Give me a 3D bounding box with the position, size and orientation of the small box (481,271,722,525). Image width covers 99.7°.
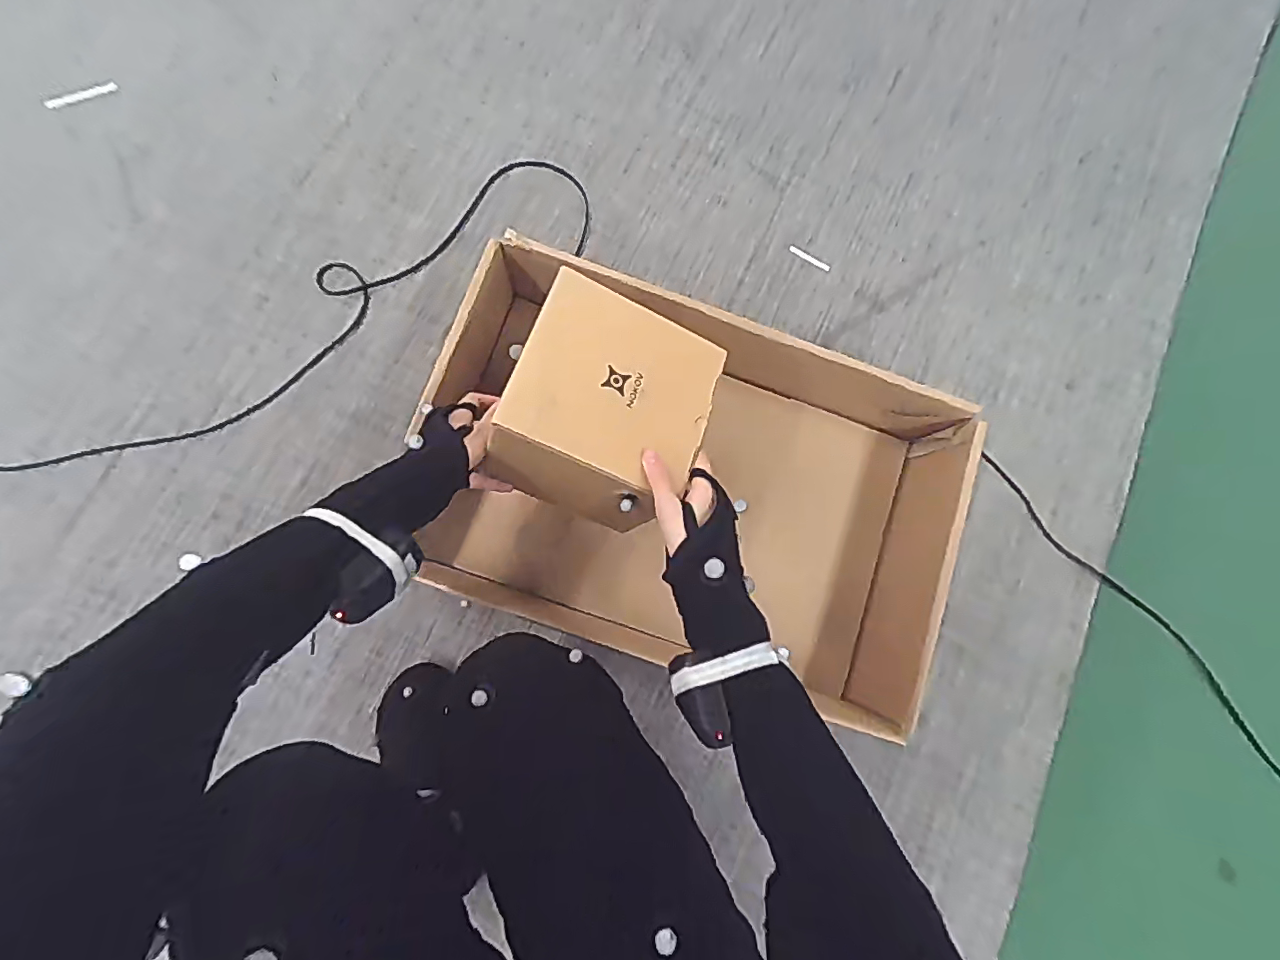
[{"bbox_3d":[-0.048,-0.065,0.549,0.179,0.176,0.168,24,69,-15],"label":"small box"}]
